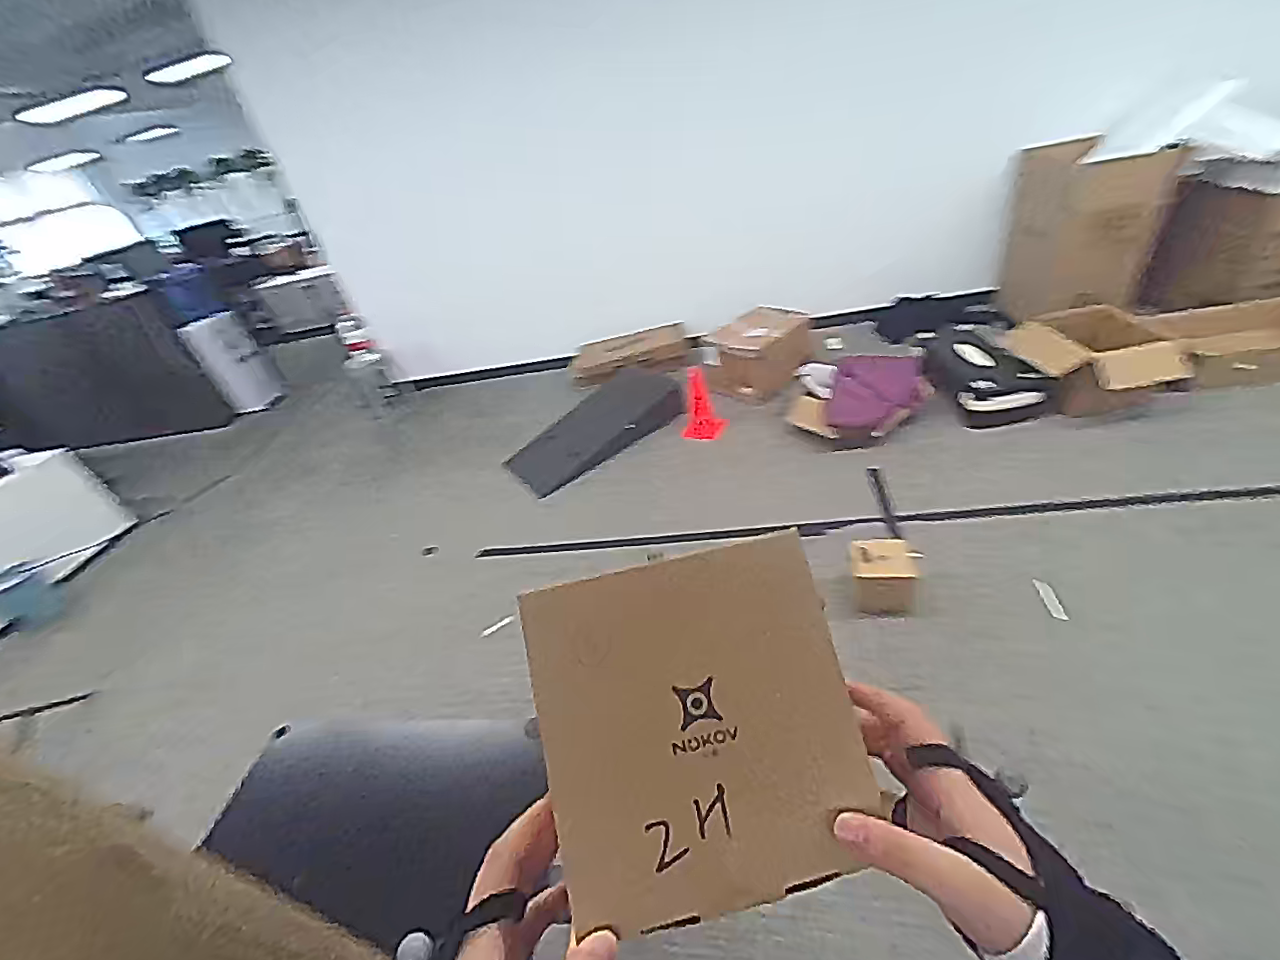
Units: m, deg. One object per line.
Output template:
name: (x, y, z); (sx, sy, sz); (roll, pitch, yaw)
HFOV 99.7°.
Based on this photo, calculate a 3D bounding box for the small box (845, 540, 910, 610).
small box: (0.782, 0.317, 1.796); (0.179, 0.176, 0.168); (-3, 38, 15)
